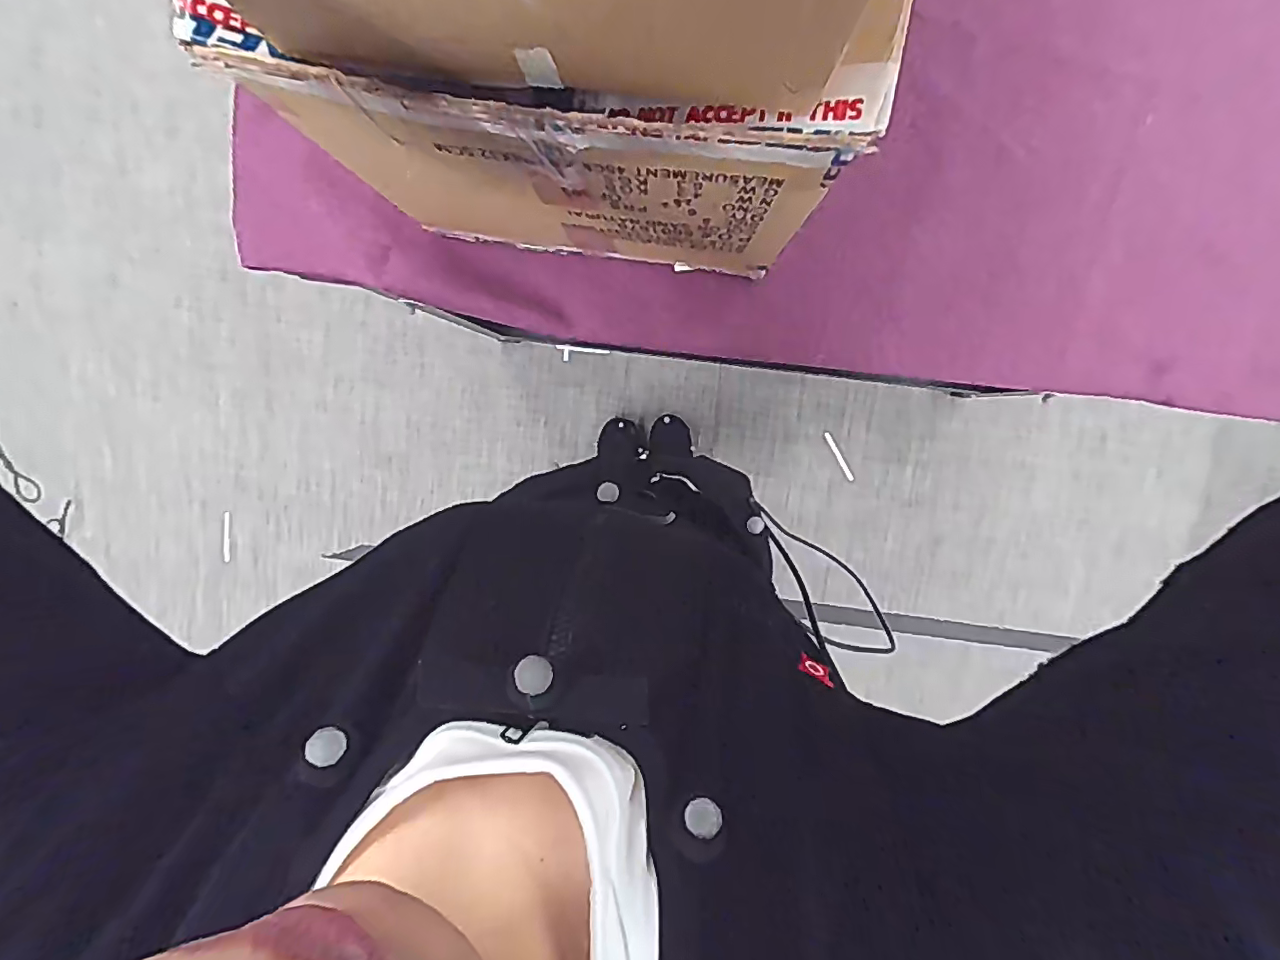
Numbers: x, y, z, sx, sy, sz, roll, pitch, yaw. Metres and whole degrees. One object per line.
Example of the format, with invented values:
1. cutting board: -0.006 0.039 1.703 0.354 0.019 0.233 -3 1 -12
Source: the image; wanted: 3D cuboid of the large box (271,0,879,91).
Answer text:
1. large box: -0.027 -0.407 0.131 0.320 0.320 0.408 7 98 3
